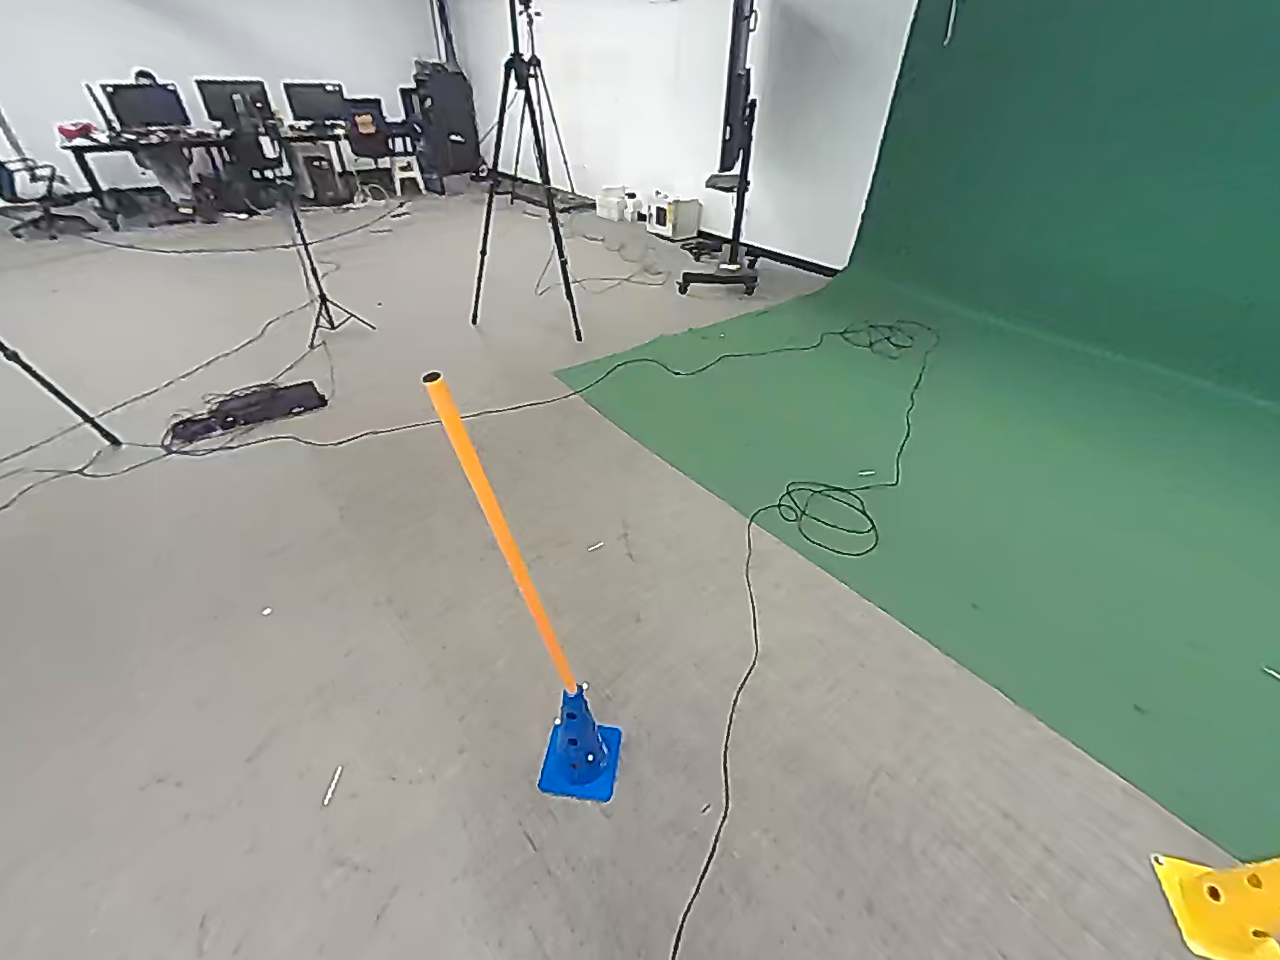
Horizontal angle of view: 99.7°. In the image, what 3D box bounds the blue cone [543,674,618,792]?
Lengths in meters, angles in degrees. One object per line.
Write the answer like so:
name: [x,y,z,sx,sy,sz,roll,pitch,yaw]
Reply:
blue cone: [-0.161,0.615,1.363,0.193,0.380,0.192,3,40,5]
